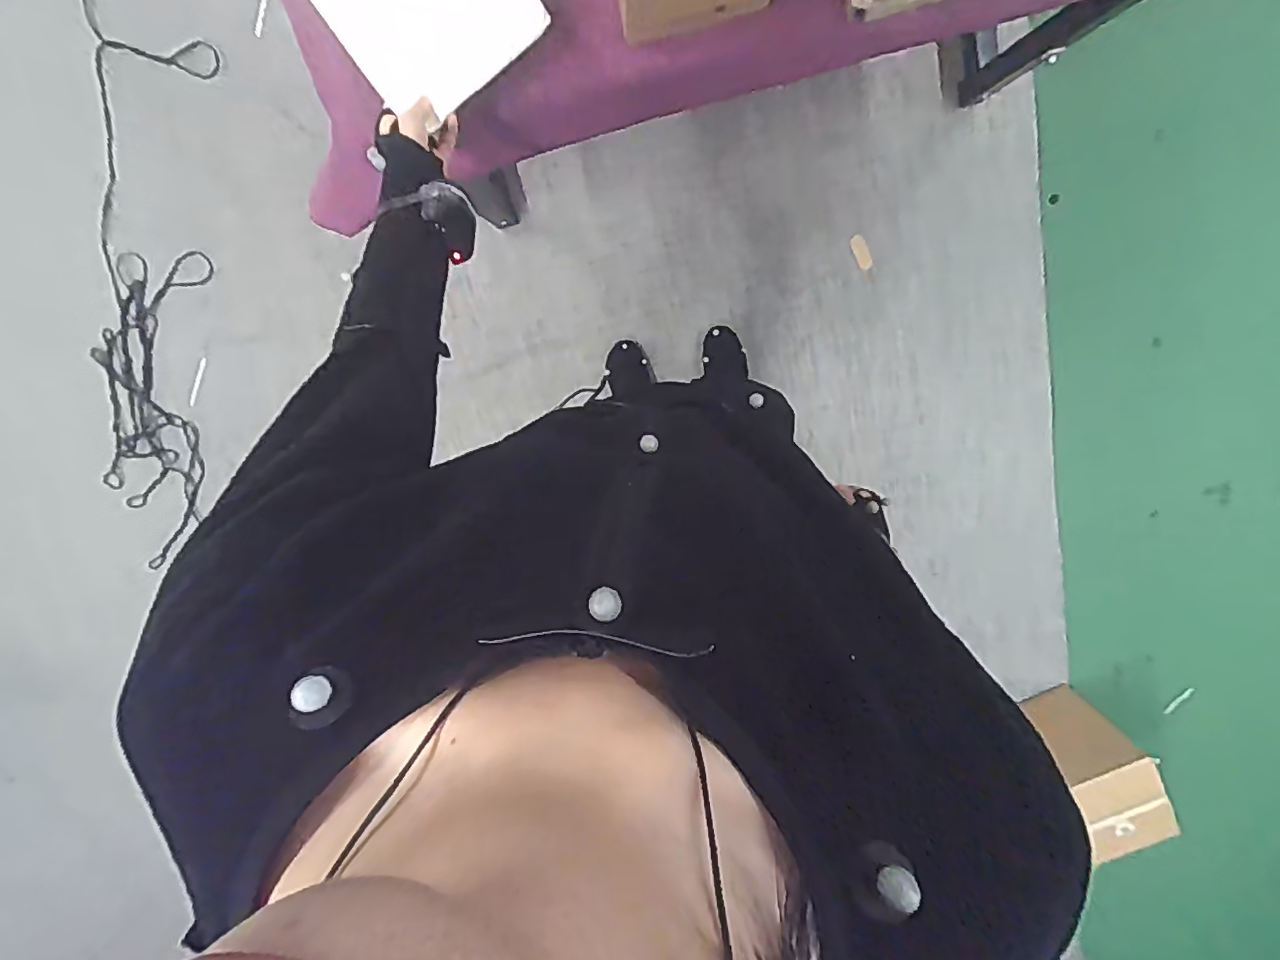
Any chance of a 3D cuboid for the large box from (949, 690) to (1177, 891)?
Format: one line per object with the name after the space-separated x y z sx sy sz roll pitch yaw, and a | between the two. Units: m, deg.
1.254 0.925 1.641 0.408 0.320 0.320 -29 105 6 | large box
